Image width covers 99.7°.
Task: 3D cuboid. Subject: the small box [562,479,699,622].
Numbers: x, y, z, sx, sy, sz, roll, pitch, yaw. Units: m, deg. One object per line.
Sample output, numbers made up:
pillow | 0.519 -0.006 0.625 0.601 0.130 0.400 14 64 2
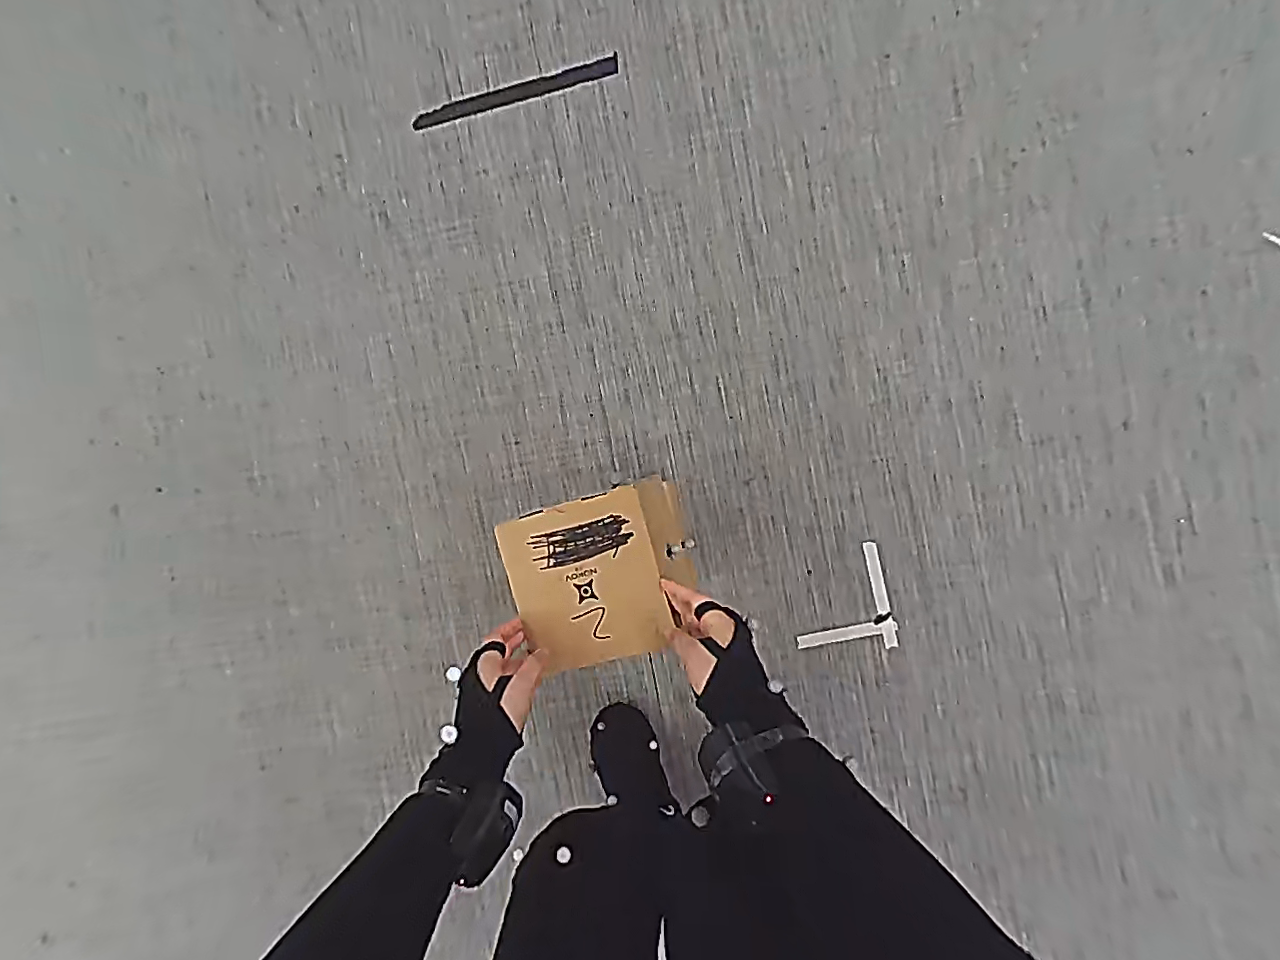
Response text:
small box | -0.009 0.098 0.830 0.168 0.176 0.179 -12 90 6
